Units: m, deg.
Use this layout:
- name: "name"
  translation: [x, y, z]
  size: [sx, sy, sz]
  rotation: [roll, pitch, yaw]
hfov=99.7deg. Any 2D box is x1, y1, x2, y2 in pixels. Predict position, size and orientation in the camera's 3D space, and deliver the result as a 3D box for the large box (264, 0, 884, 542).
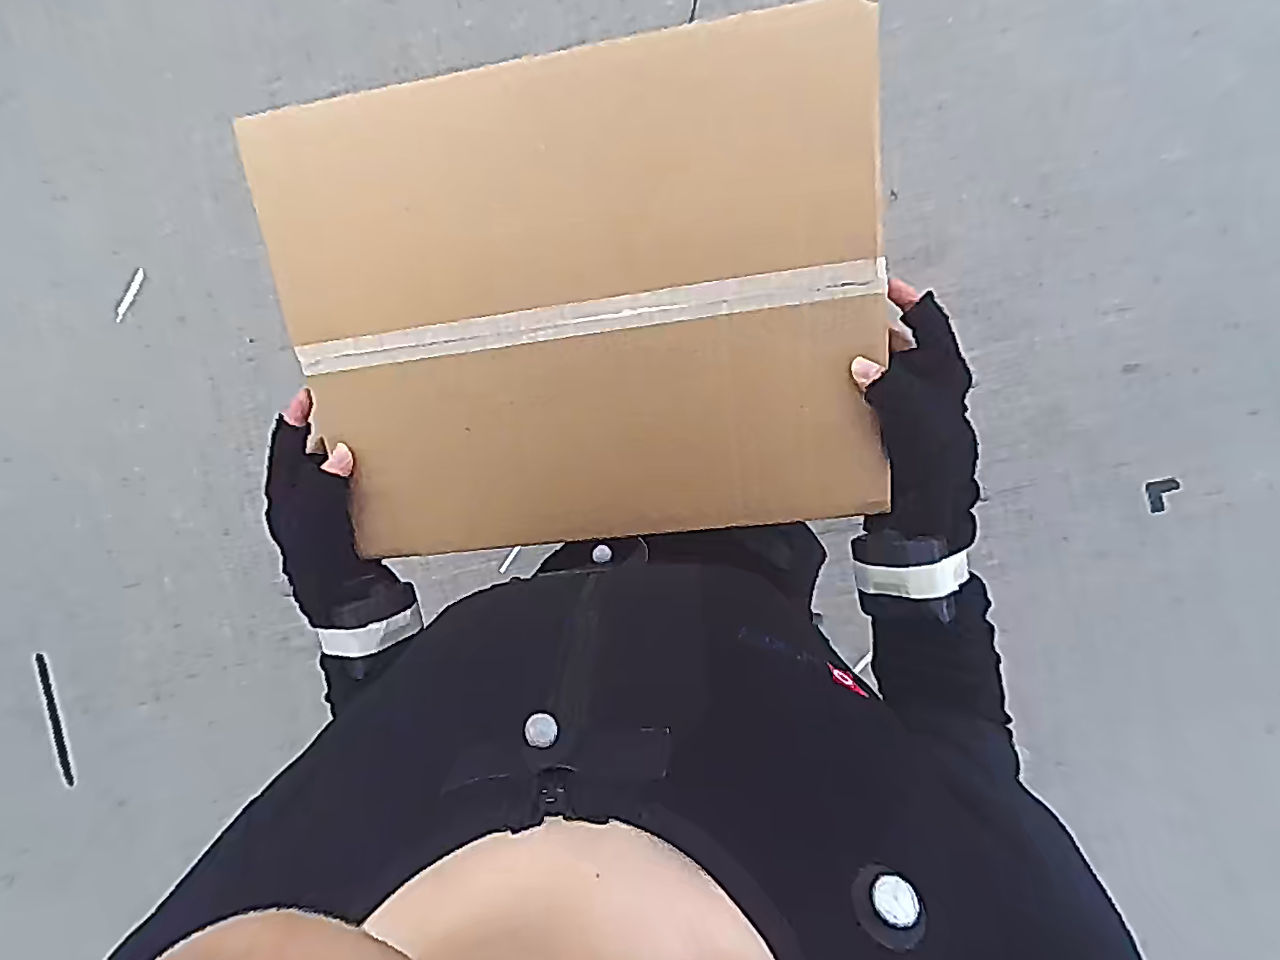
- name: "large box"
  translation: [-0.028, -0.156, 0.518]
  size: [0.408, 0.320, 0.320]
  rotation: [-6, 105, 7]
